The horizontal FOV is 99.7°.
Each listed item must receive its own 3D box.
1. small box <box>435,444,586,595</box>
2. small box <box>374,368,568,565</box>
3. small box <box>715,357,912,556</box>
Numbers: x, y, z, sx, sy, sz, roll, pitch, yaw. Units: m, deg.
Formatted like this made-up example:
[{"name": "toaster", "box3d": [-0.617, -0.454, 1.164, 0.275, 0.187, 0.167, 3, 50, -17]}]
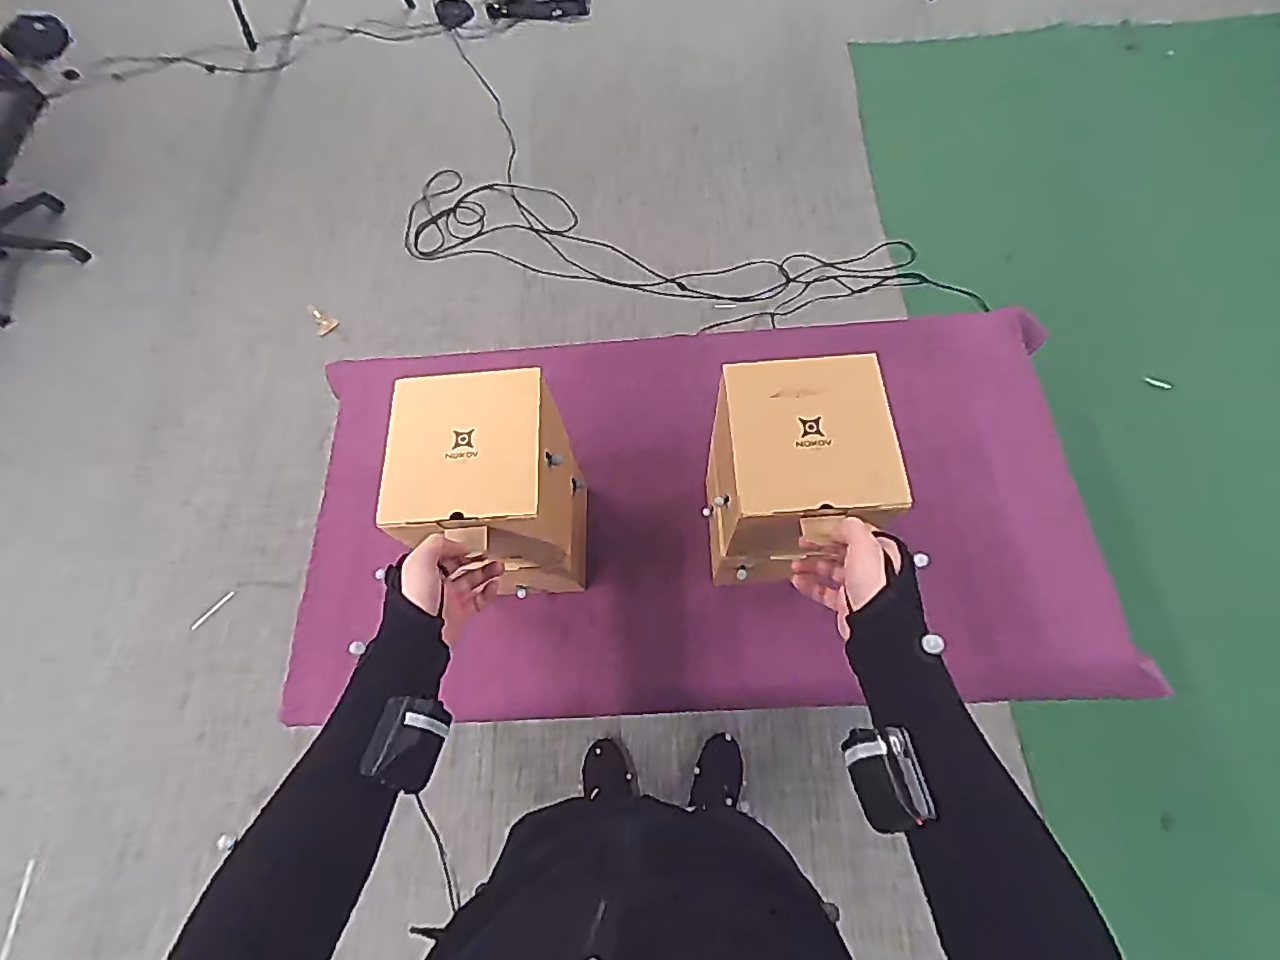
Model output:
[{"name": "small box", "box3d": [-0.173, 0.062, 0.779, 0.168, 0.176, 0.179, -2, 68, 3]}, {"name": "small box", "box3d": [-0.180, -0.008, 0.633, 0.168, 0.176, 0.179, -4, 68, 2]}, {"name": "small box", "box3d": [0.177, -0.015, 0.612, 0.168, 0.176, 0.179, -3, 67, 2]}]
